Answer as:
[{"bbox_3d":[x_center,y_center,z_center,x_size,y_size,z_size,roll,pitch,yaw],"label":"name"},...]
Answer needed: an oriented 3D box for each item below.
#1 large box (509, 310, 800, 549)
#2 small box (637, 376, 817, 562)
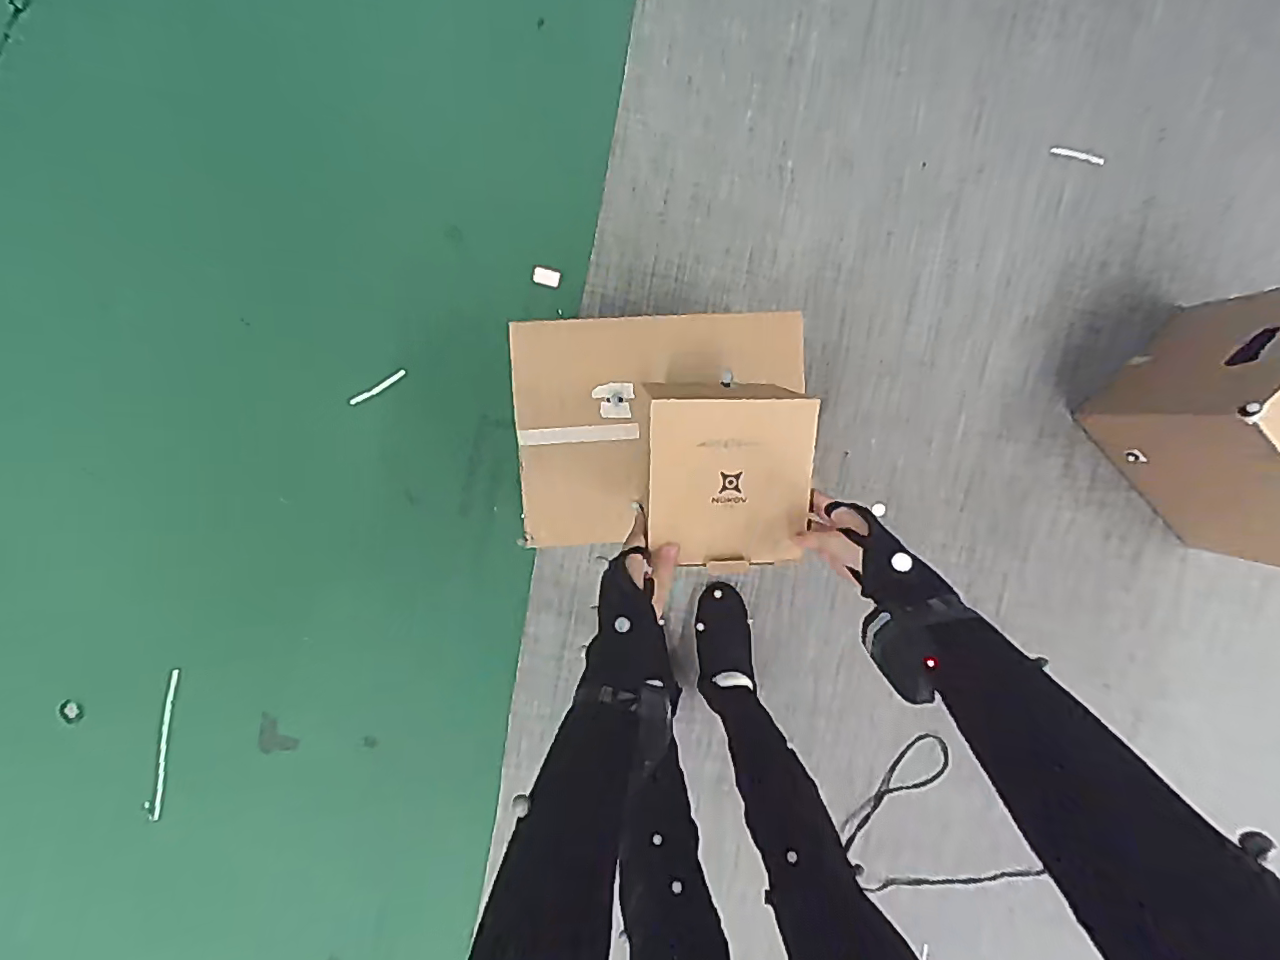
[{"bbox_3d":[0.025,-0.084,0.901,0.408,0.320,0.320,-4,95,-1],"label":"large box"},{"bbox_3d":[0.084,-0.021,0.613,0.168,0.176,0.179,-1,106,-3],"label":"small box"}]
